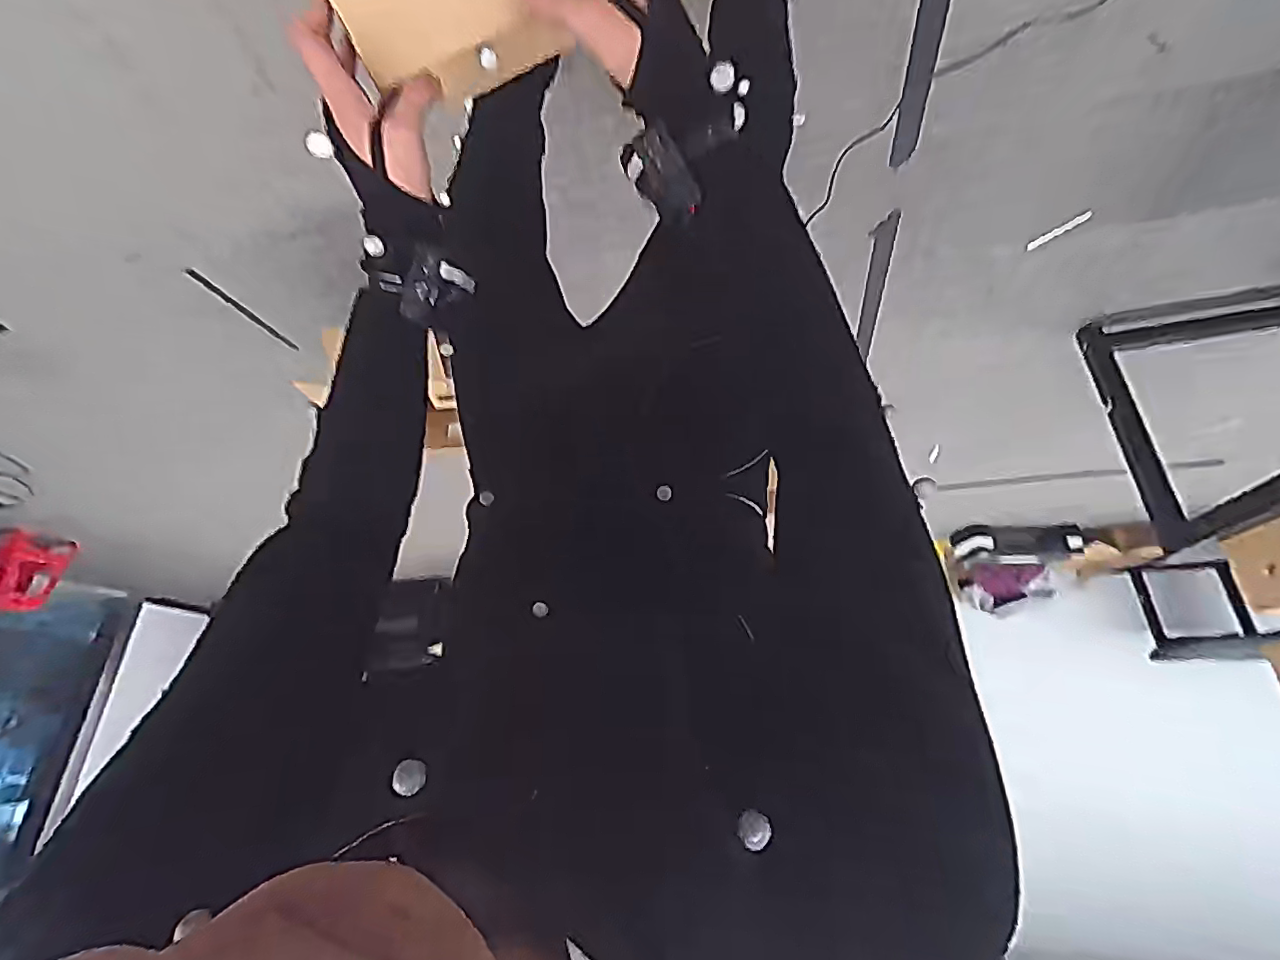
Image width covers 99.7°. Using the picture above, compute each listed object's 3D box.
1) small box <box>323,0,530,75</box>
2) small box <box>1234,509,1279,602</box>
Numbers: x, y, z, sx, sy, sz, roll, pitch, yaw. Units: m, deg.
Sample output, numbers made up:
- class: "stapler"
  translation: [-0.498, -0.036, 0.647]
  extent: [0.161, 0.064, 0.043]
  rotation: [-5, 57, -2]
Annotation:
- class: "small box"
  translation: [-0.150, -0.423, 0.376]
  extent: [0.179, 0.176, 0.168]
  rotation: [-18, 133, 9]
- class: "small box"
  translation: [1.397, 0.150, 1.112]
  extent: [0.168, 0.176, 0.179]
  rotation: [-6, 155, 12]
